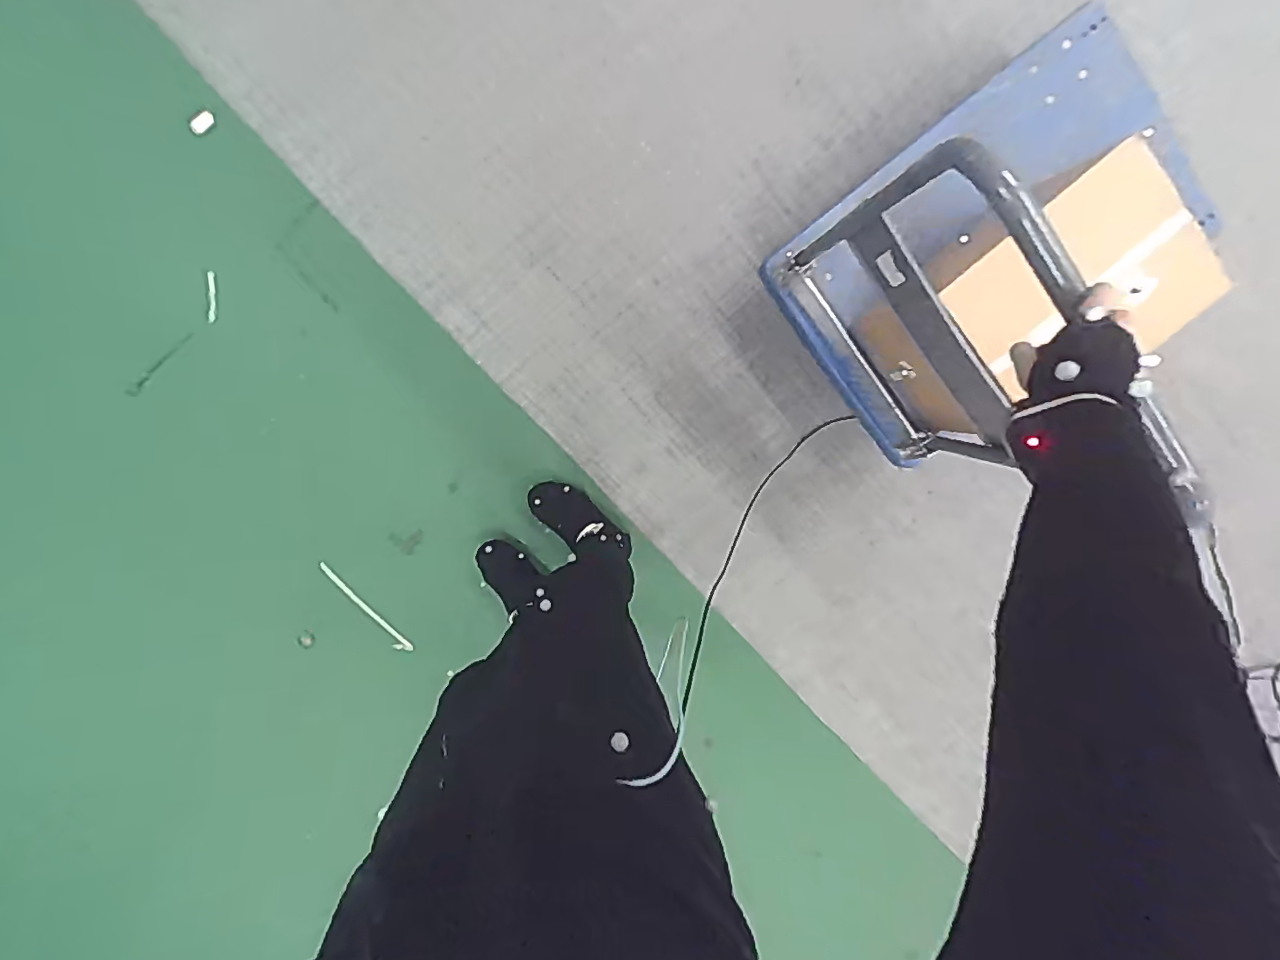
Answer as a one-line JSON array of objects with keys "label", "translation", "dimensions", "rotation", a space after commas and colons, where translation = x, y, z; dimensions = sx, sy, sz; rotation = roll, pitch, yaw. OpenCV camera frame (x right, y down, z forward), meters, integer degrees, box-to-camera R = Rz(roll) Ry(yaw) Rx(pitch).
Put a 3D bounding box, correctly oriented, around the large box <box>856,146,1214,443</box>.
[{"label": "large box", "translation": [0.721, -0.320, 1.052], "dimensions": [0.408, 0.320, 0.320], "rotation": [-40, 99, 2]}]
